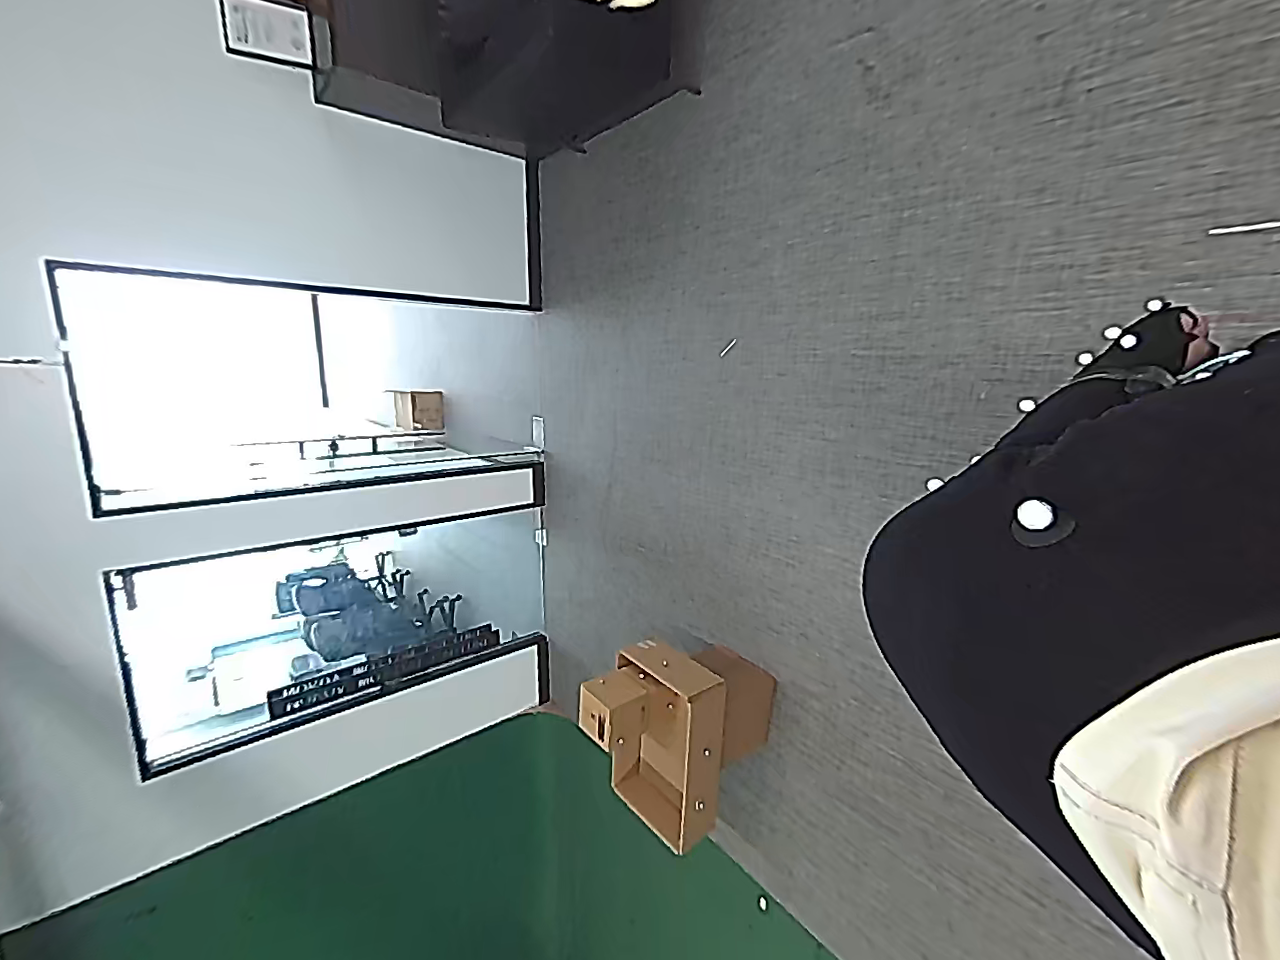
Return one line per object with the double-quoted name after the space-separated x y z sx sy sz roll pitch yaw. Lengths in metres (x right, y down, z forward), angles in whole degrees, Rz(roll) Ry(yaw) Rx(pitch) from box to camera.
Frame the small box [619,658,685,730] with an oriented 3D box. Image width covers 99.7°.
0.043 0.778 1.995 0.179 0.176 0.168 17 109 47 "small box"
